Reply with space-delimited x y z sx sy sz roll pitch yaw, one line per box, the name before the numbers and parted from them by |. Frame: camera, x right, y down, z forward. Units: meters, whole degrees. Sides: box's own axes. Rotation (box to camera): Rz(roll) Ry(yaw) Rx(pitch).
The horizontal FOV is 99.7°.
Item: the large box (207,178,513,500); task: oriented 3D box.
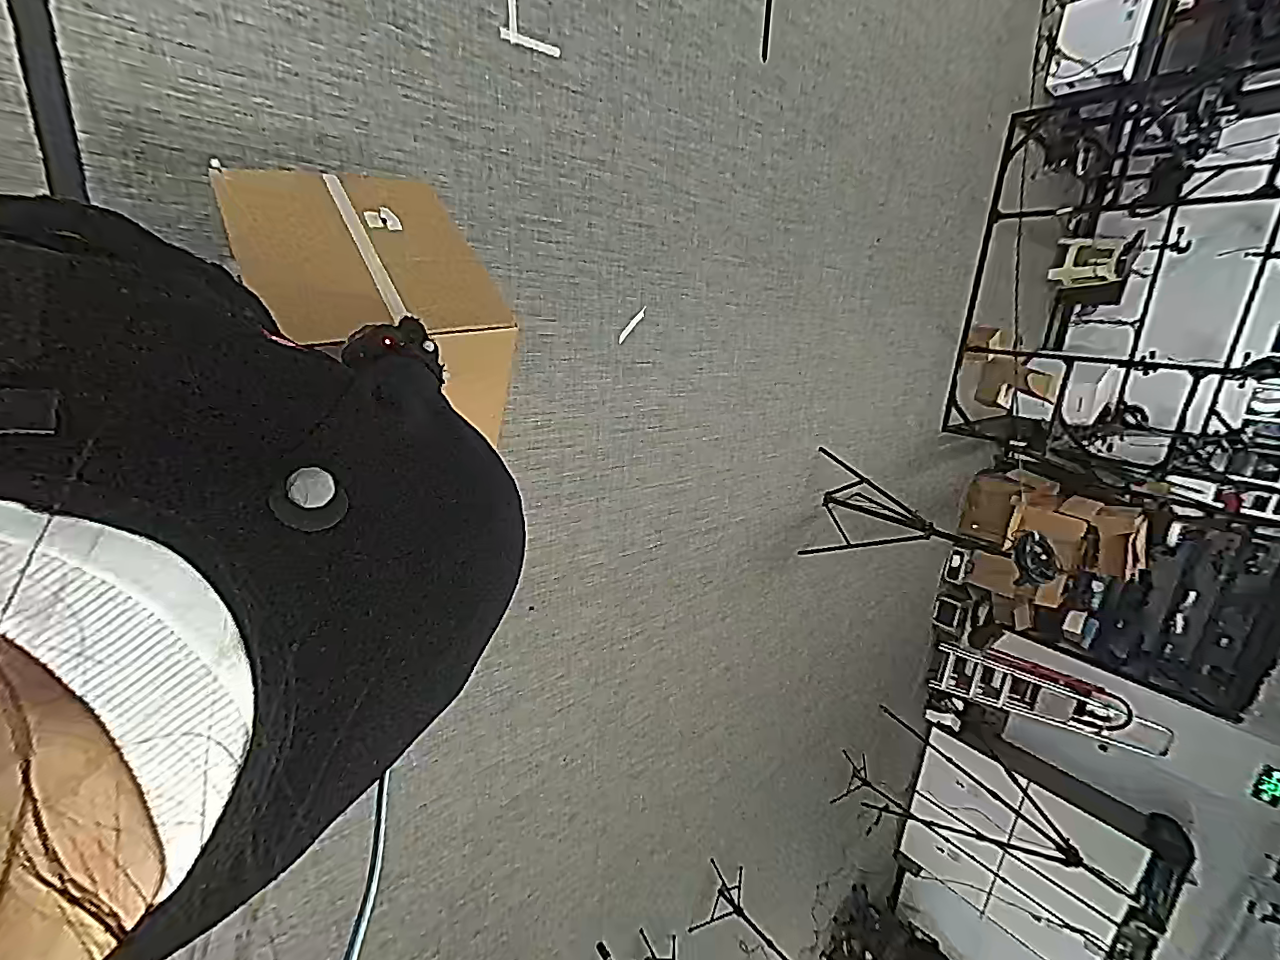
large box | -0.453 -0.240 0.901 0.320 0.408 0.320 -17 150 -34
